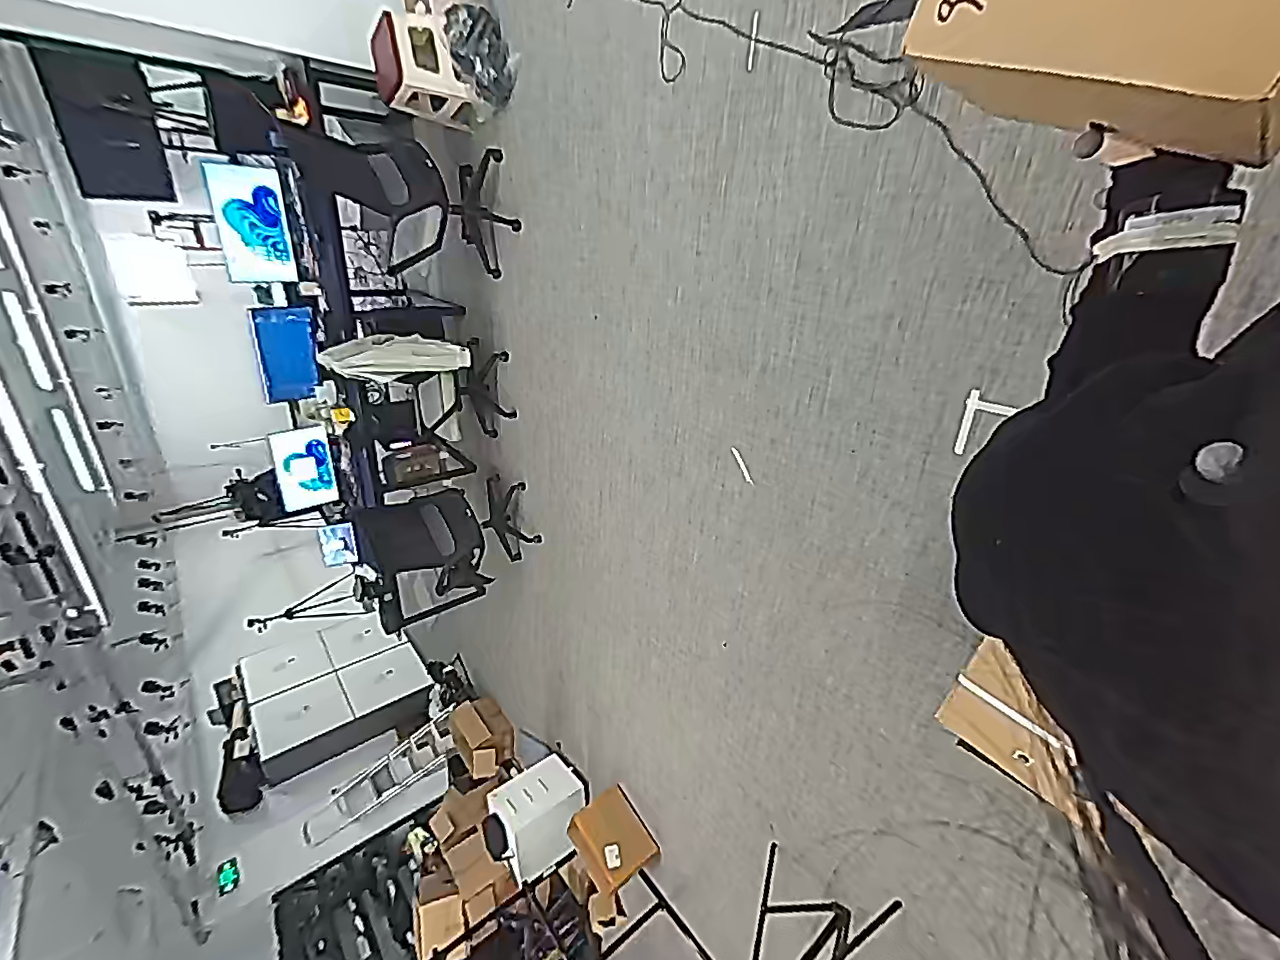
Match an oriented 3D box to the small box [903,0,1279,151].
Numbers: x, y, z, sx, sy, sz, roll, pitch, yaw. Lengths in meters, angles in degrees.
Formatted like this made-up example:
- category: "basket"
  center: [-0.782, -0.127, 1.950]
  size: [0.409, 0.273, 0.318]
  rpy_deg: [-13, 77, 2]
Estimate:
- category: "small box"
  center: [0.286, -0.286, 0.277]
  size: [0.179, 0.176, 0.168]
  rpy_deg: [41, 131, 32]
